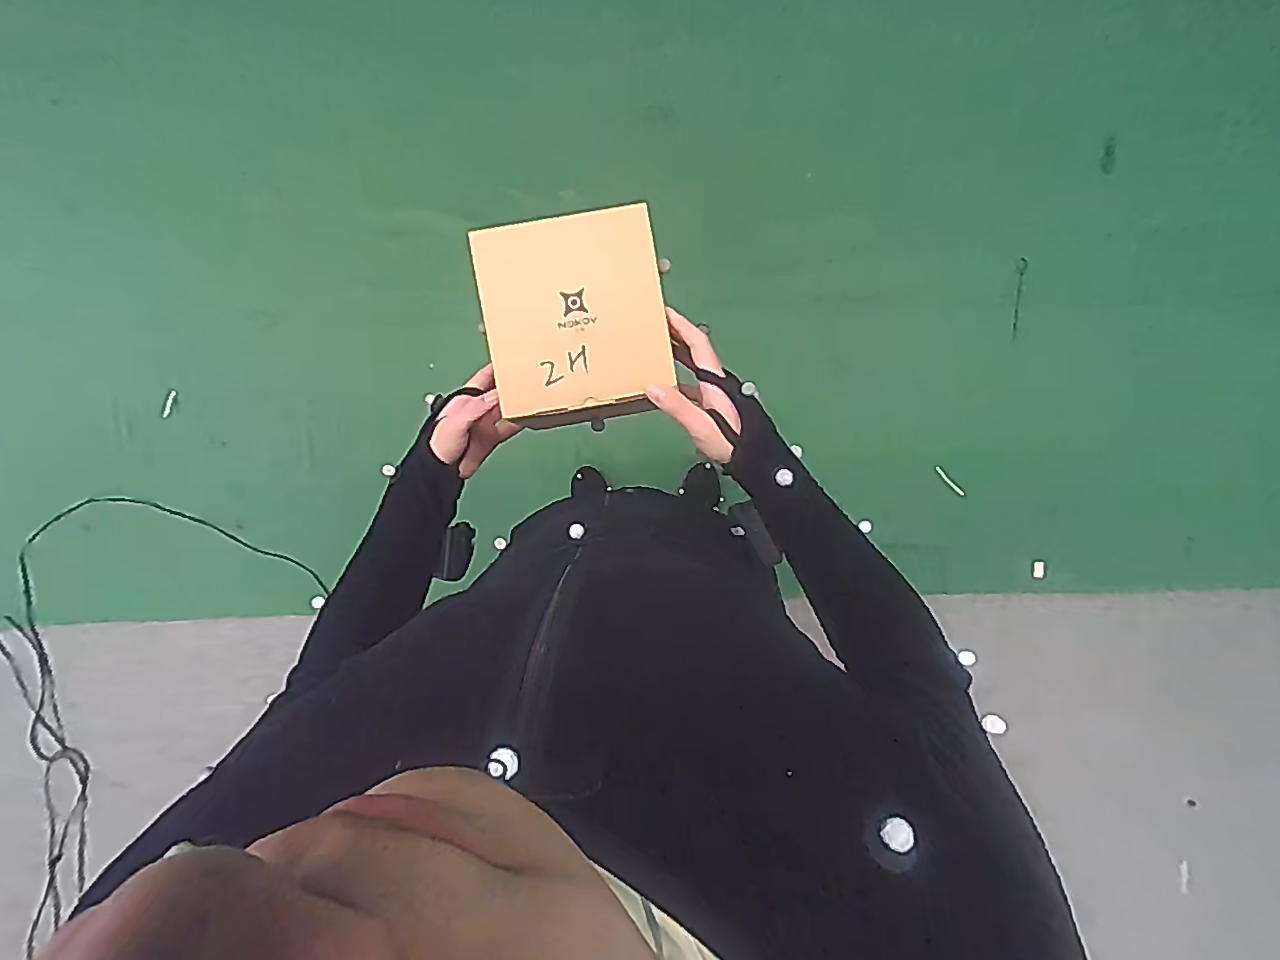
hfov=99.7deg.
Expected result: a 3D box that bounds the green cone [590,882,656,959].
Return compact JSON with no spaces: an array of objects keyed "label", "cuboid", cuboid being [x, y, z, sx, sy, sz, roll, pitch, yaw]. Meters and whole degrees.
[{"label":"green cone","cuboid":[-0.059,1.339,1.489,0.202,0.368,0.200,-2,92,3]}]
